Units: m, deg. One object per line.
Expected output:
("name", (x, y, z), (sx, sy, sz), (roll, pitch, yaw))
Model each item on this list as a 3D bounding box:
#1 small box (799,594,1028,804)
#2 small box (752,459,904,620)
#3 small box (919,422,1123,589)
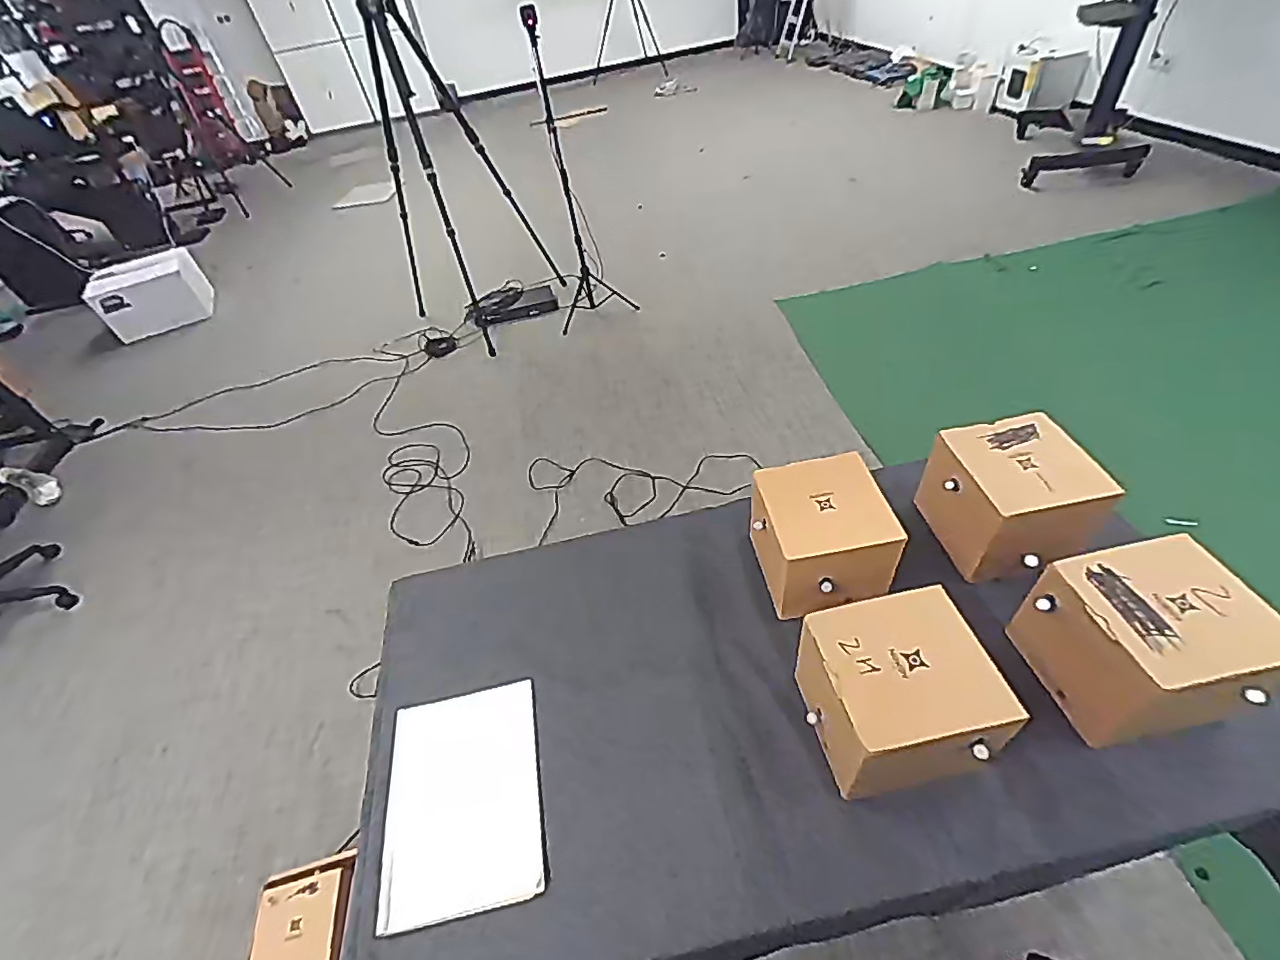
("small box", (0.307, 0.266, 0.654), (0.179, 0.176, 0.168), (-12, 44, 0))
("small box", (0.276, 0.098, 0.830), (0.168, 0.176, 0.179), (-10, 45, 1))
("small box", (0.559, 0.040, 0.829), (0.168, 0.176, 0.179), (-11, 46, 1))
